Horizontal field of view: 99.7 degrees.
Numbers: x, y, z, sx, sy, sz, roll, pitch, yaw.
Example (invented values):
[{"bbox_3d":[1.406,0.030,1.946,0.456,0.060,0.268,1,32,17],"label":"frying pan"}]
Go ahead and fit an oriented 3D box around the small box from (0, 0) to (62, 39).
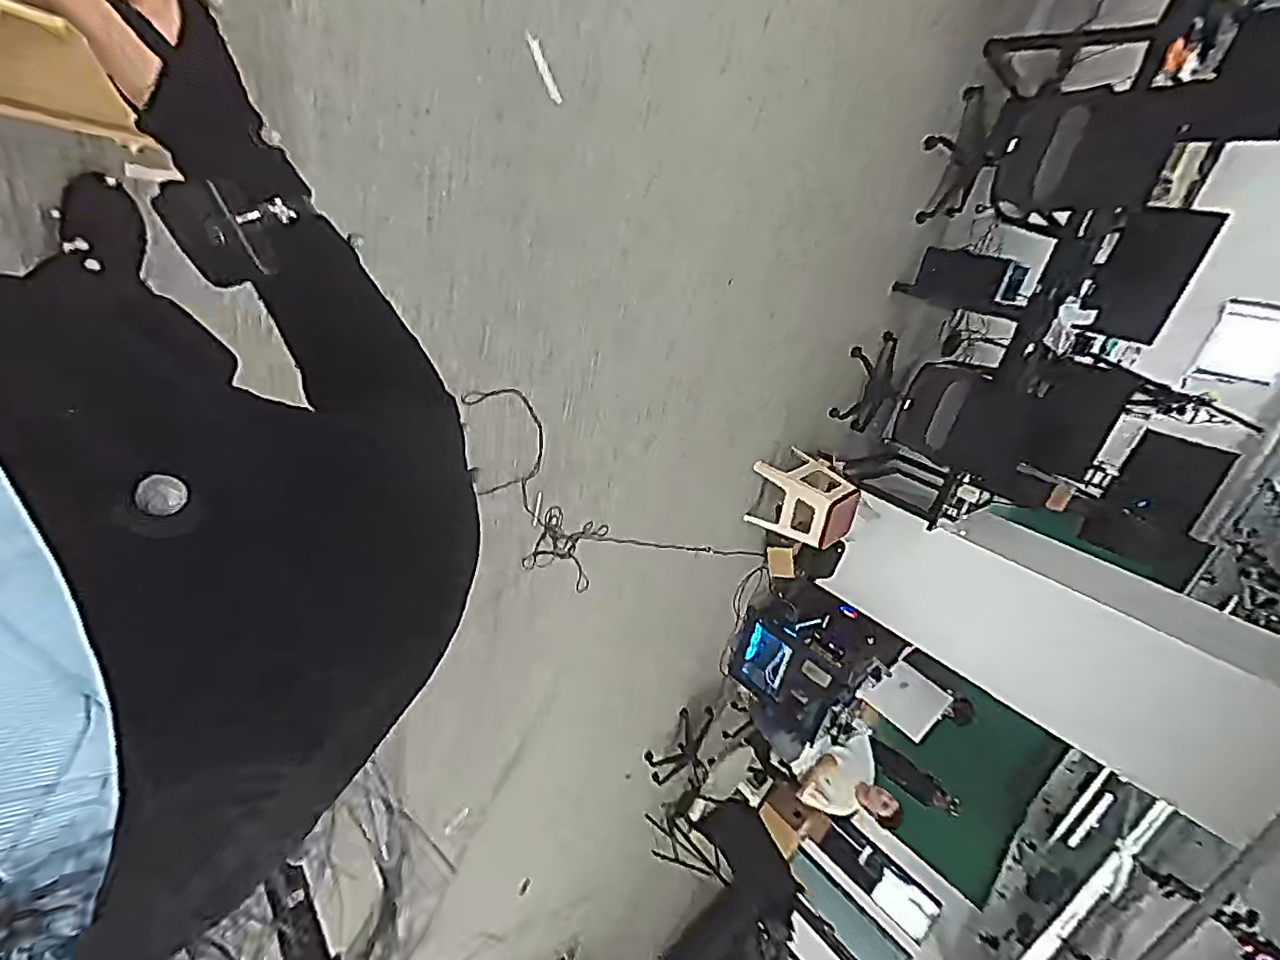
[{"bbox_3d":[-0.895,-0.734,0.719,0.168,0.176,0.179,-3,117,-45],"label":"small box"}]
